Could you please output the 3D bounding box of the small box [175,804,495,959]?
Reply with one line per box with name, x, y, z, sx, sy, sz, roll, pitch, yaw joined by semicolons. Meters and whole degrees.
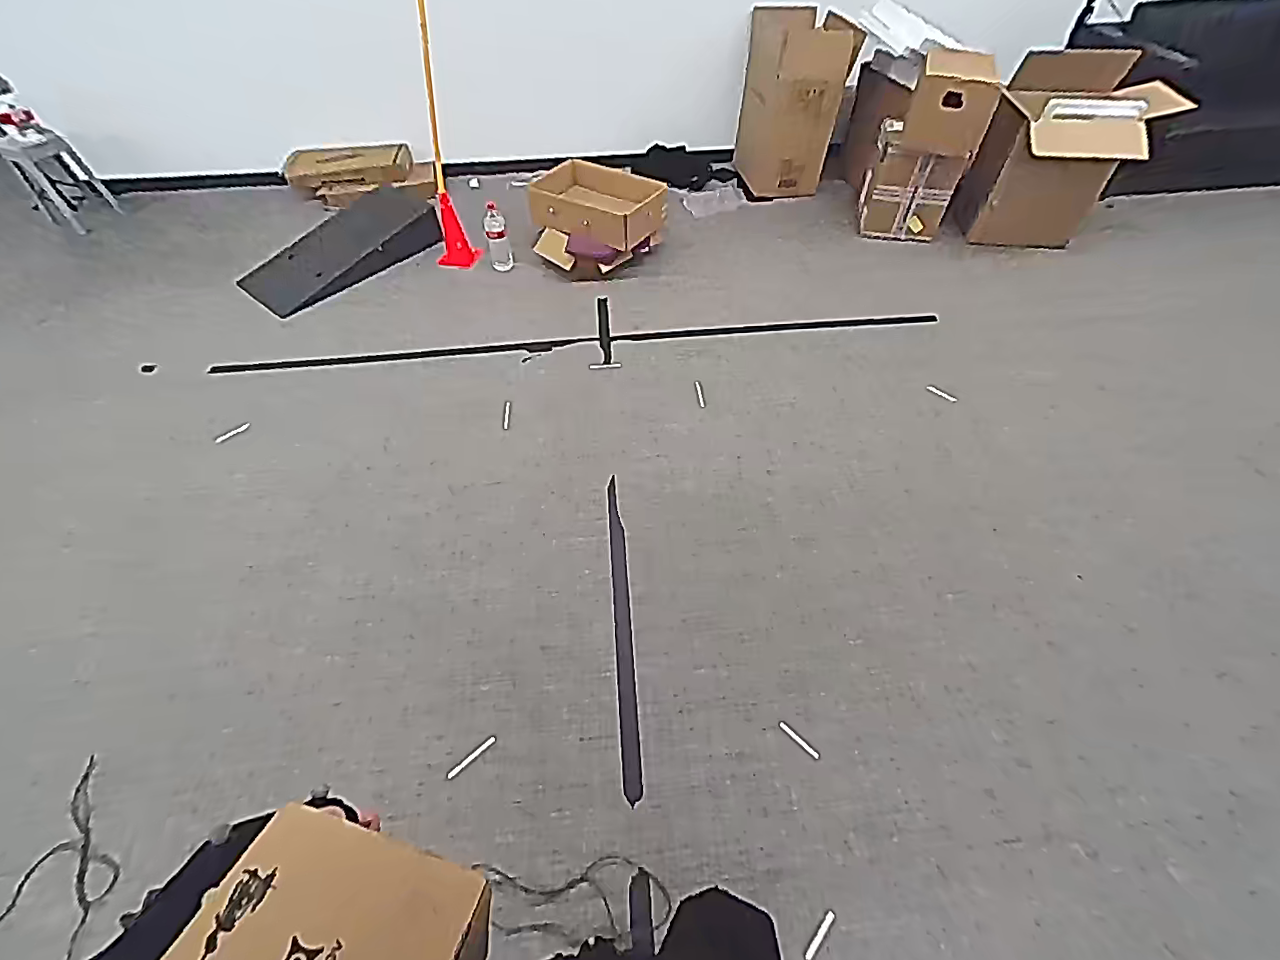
small box;-0.226;0.386;0.397;0.179;0.176;0.168;17;33;6
